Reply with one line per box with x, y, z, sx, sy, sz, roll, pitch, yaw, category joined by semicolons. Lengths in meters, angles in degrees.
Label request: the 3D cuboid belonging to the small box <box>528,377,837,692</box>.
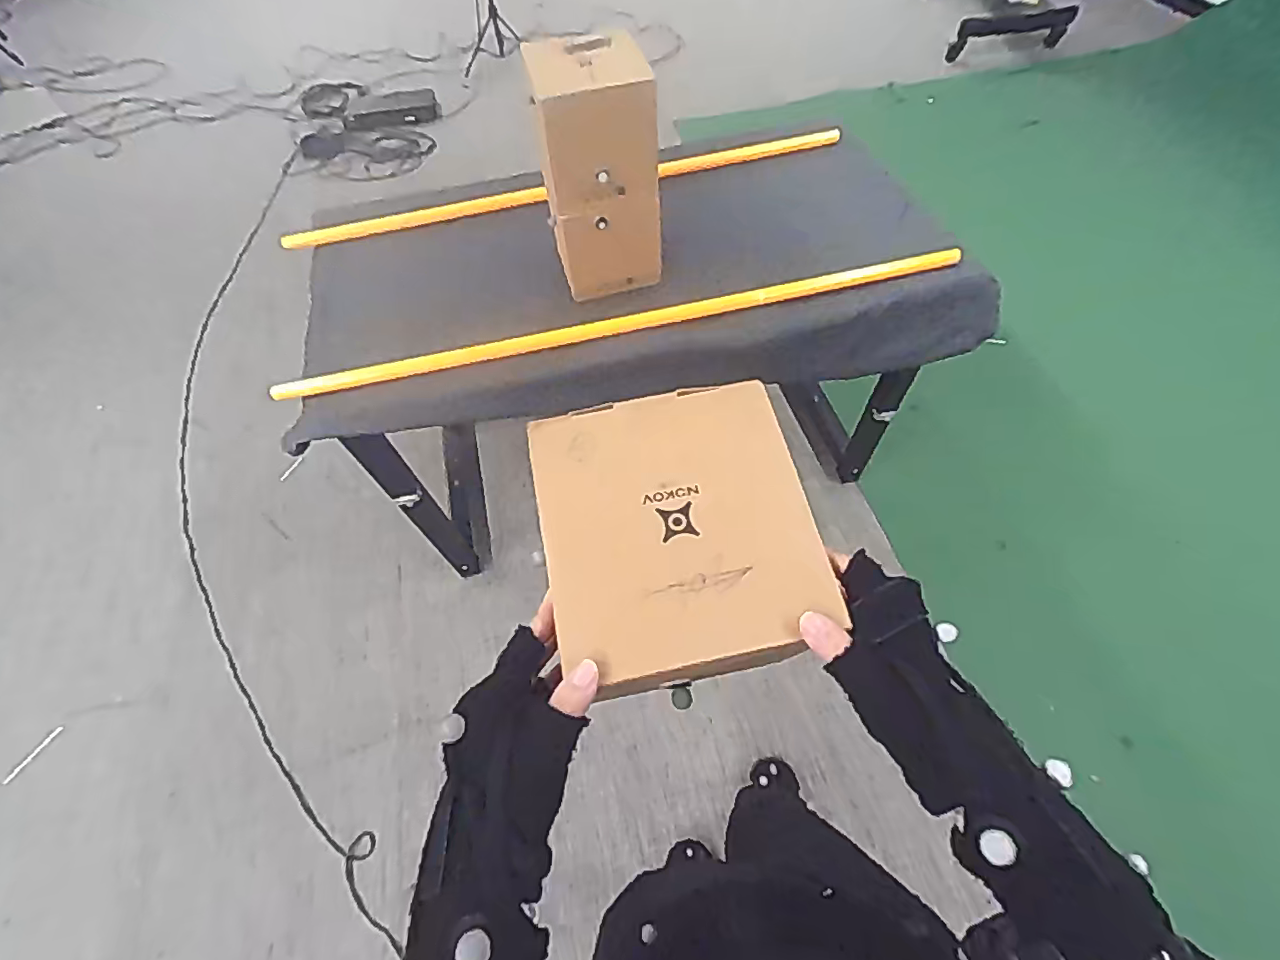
0.018;0.051;0.412;0.168;0.176;0.179;-11;66;-4;small box

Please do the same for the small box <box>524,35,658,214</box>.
-0.073;-0.545;0.836;0.168;0.176;0.179;-14;59;-5;small box

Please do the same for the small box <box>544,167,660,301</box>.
-0.065;-0.455;0.974;0.168;0.176;0.179;-15;58;-5;small box
